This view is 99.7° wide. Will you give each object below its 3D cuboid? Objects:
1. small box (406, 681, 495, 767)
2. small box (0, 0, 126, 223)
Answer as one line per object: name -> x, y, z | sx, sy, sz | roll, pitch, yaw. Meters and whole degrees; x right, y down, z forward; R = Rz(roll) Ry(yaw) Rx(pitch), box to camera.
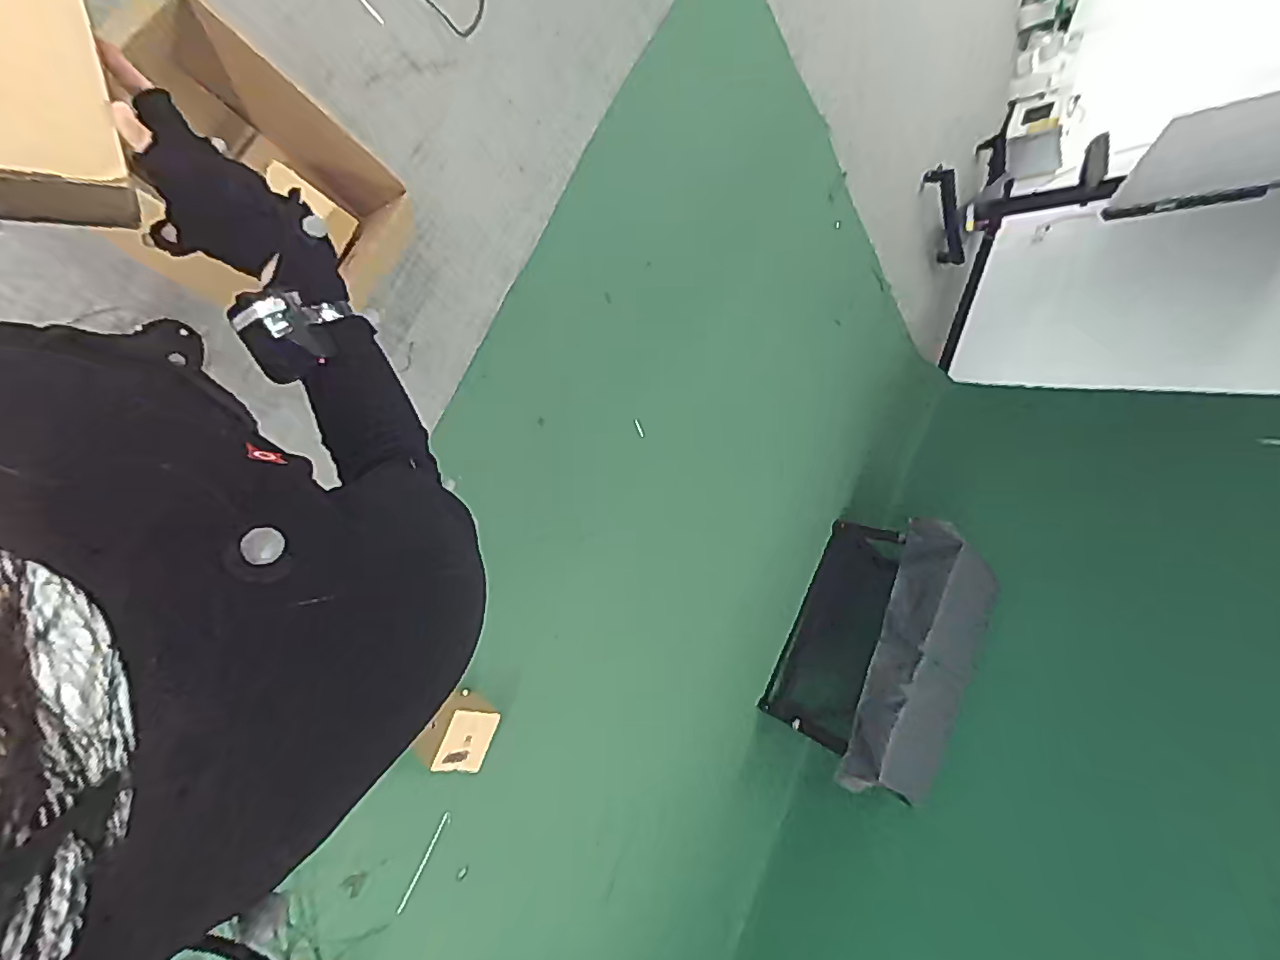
small box -> -0.578, 0.736, 1.633 | 0.168, 0.176, 0.179 | 32, 77, -44
small box -> -0.431, -0.264, 0.313 | 0.168, 0.176, 0.179 | -15, 111, -38
